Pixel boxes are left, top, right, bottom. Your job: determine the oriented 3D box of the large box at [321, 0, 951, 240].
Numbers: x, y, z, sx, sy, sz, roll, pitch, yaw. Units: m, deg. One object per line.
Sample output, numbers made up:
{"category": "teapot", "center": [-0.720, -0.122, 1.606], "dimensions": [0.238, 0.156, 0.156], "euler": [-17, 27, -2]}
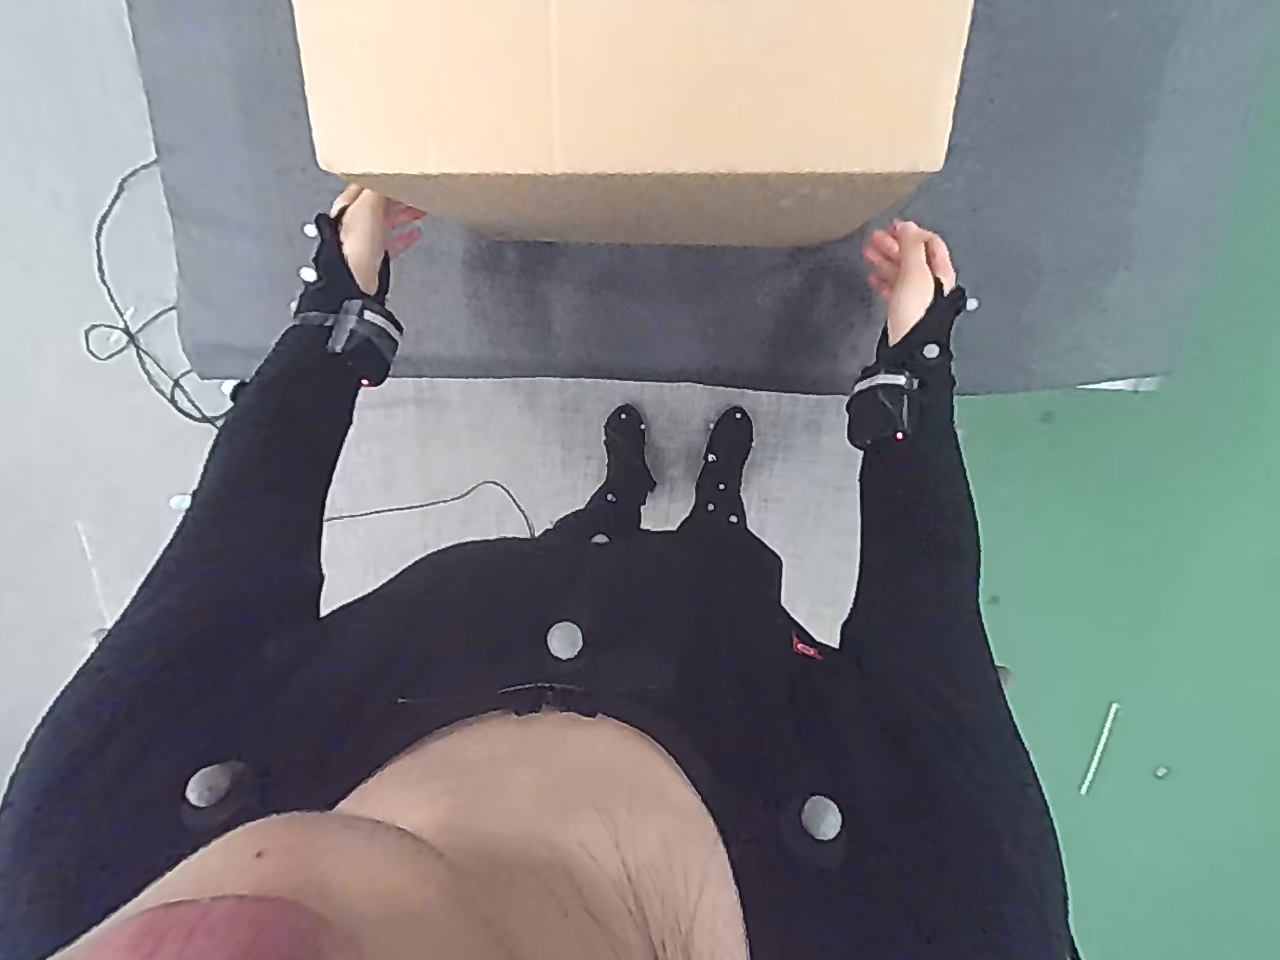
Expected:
{"category": "large box", "center": [0.004, -0.397, 0.463], "dimensions": [0.408, 0.320, 0.320], "euler": [3, 107, 6]}
